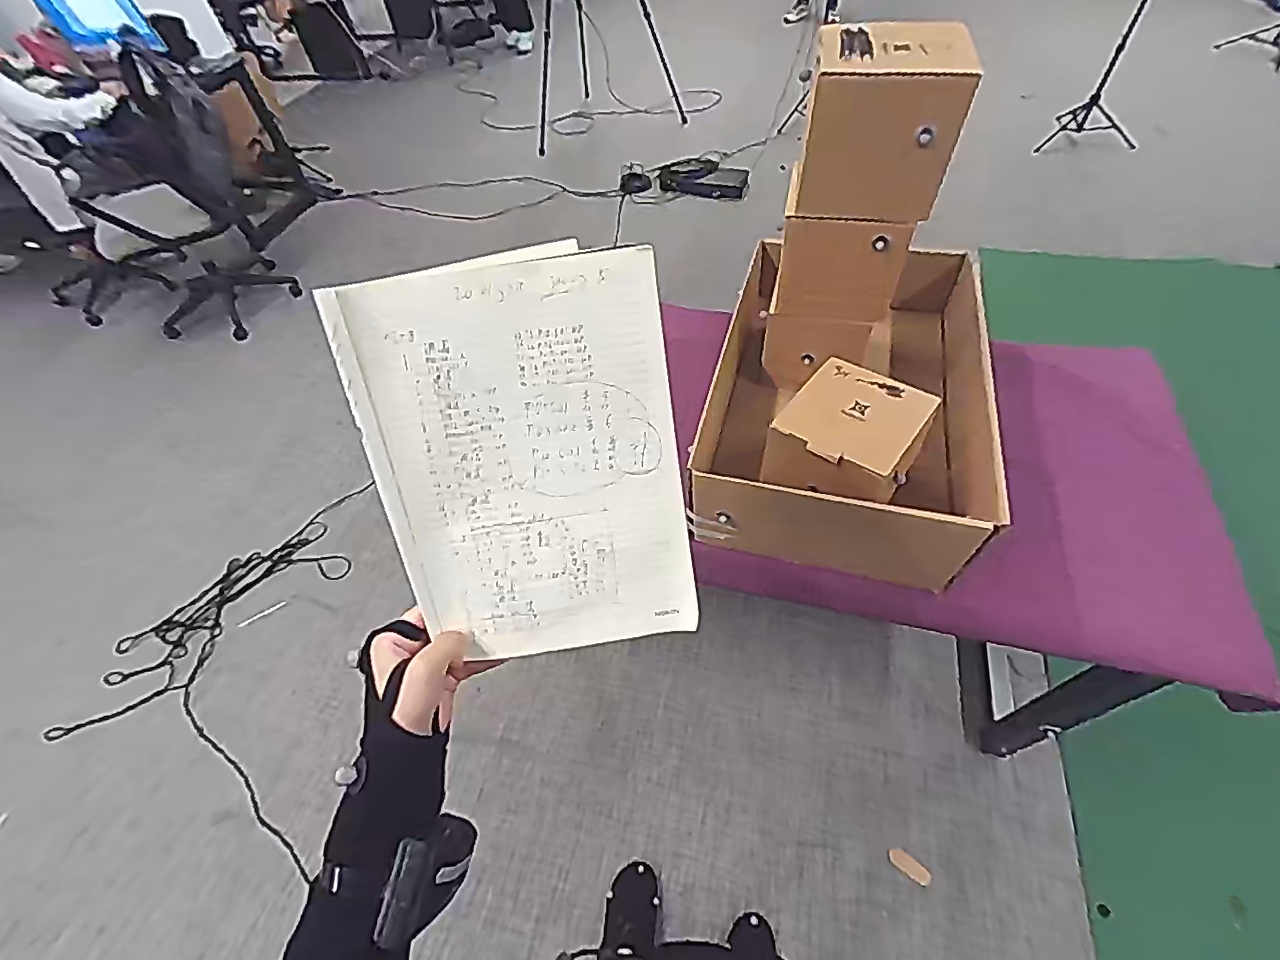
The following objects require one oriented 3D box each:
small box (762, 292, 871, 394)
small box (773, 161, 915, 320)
[{"bbox_3d":[0.318,-0.278,0.976,0.168,0.176,0.179,11,57,14],"label":"small box"},{"bbox_3d":[0.308,-0.370,0.843,0.179,0.176,0.168,9,56,12],"label":"small box"}]
